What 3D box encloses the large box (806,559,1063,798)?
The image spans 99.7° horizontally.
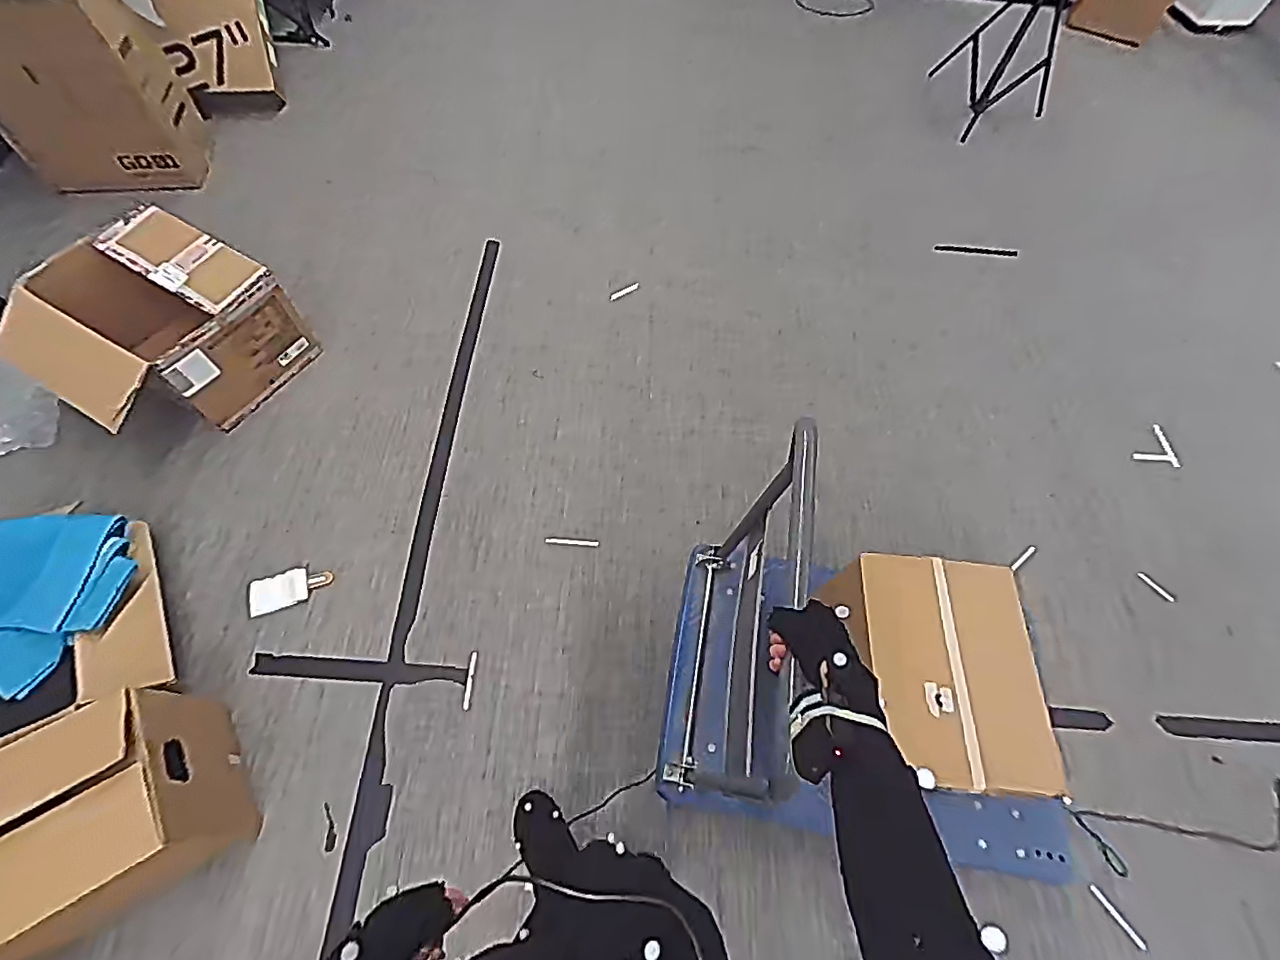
[{"bbox_3d":[0.559,0.410,1.123,0.320,0.320,0.408,5,62,-1],"label":"large box"}]
